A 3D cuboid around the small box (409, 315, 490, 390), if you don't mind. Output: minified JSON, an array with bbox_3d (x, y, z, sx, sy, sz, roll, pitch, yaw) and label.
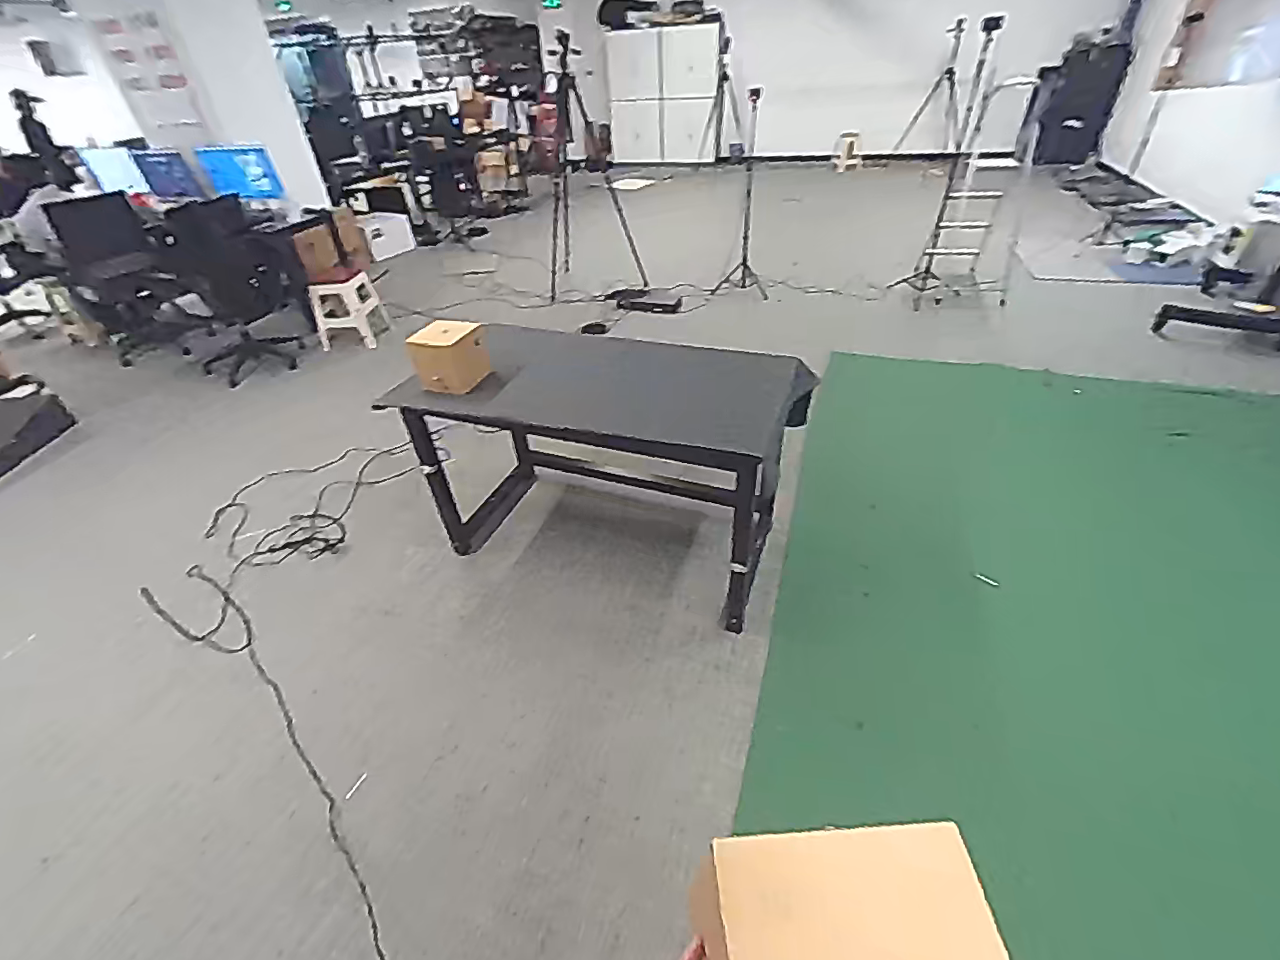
[{"bbox_3d":[-0.596,-0.408,1.722,0.168,0.176,0.179,10,40,17],"label":"small box"}]
